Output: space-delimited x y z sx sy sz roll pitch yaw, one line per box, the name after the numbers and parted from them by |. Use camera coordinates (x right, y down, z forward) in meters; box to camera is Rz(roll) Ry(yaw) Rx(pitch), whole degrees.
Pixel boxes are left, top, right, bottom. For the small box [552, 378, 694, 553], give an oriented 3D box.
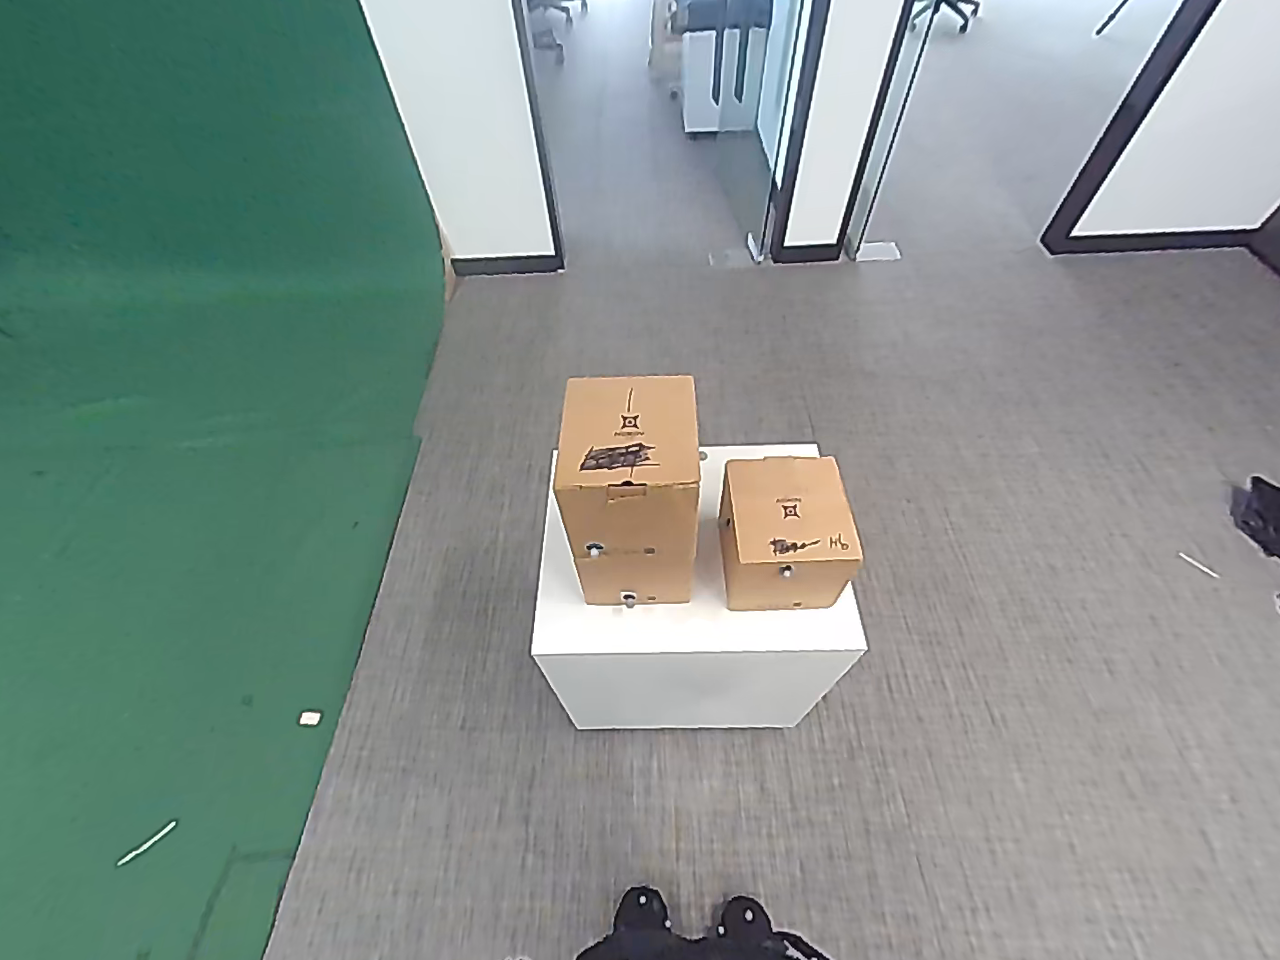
-0.012 -0.014 0.720 0.168 0.176 0.179 -1 53 3 | small box

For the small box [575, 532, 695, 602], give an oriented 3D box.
-0.007 0.073 0.840 0.168 0.176 0.179 -3 55 1 | small box

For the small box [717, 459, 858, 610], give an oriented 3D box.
0.213 0.085 0.837 0.168 0.176 0.179 -1 53 2 | small box
